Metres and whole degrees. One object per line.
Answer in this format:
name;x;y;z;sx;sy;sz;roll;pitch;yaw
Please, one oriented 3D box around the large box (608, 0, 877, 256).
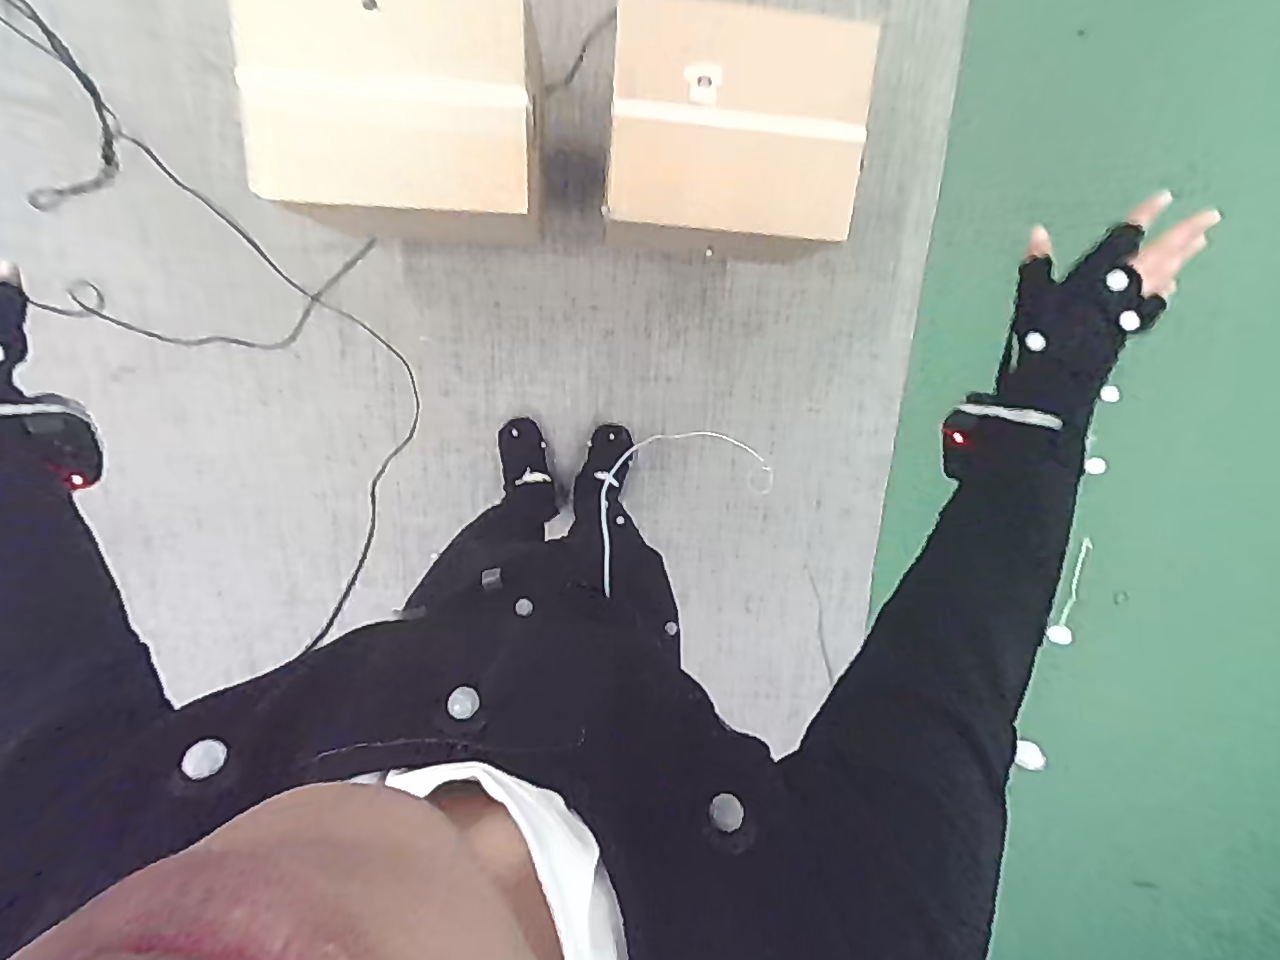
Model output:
large box;0.152;-0.608;1.002;0.408;0.320;0.320;4;105;-6
